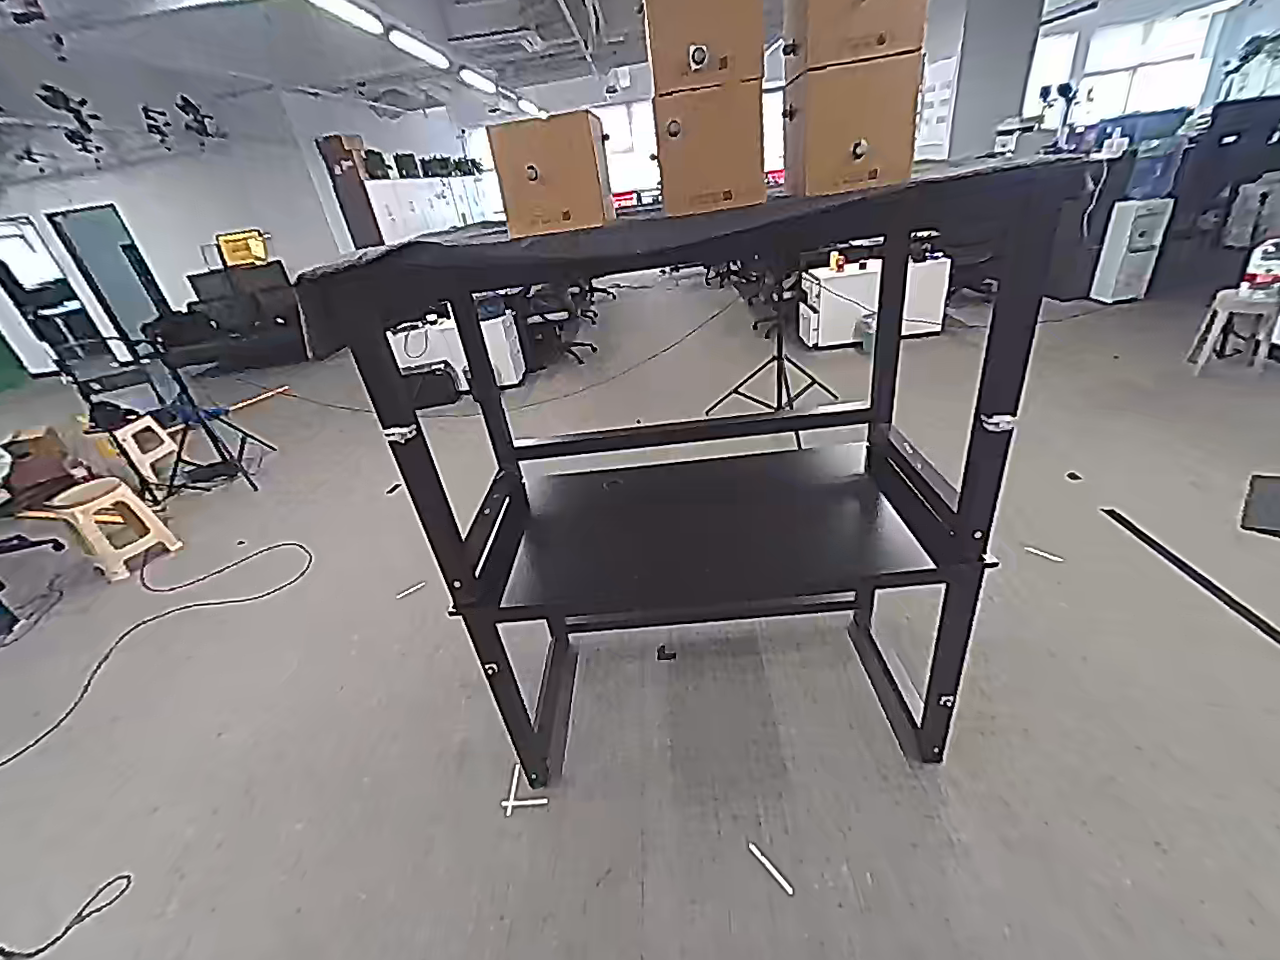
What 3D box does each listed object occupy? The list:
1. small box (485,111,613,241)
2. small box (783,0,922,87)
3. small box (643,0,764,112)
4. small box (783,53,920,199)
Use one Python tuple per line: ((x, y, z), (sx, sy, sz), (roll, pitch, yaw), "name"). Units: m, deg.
((-0.145, -0.520, 0.941), (0.168, 0.176, 0.179), (-5, 28, 7), "small box")
((0.310, -0.706, 0.805), (0.168, 0.176, 0.179), (-5, 30, 6), "small box")
((0.093, -0.687, 0.835), (0.168, 0.176, 0.179), (-8, 29, 5), "small box")
((0.331, -0.563, 0.883), (0.168, 0.176, 0.179), (-7, 29, 6), "small box")
